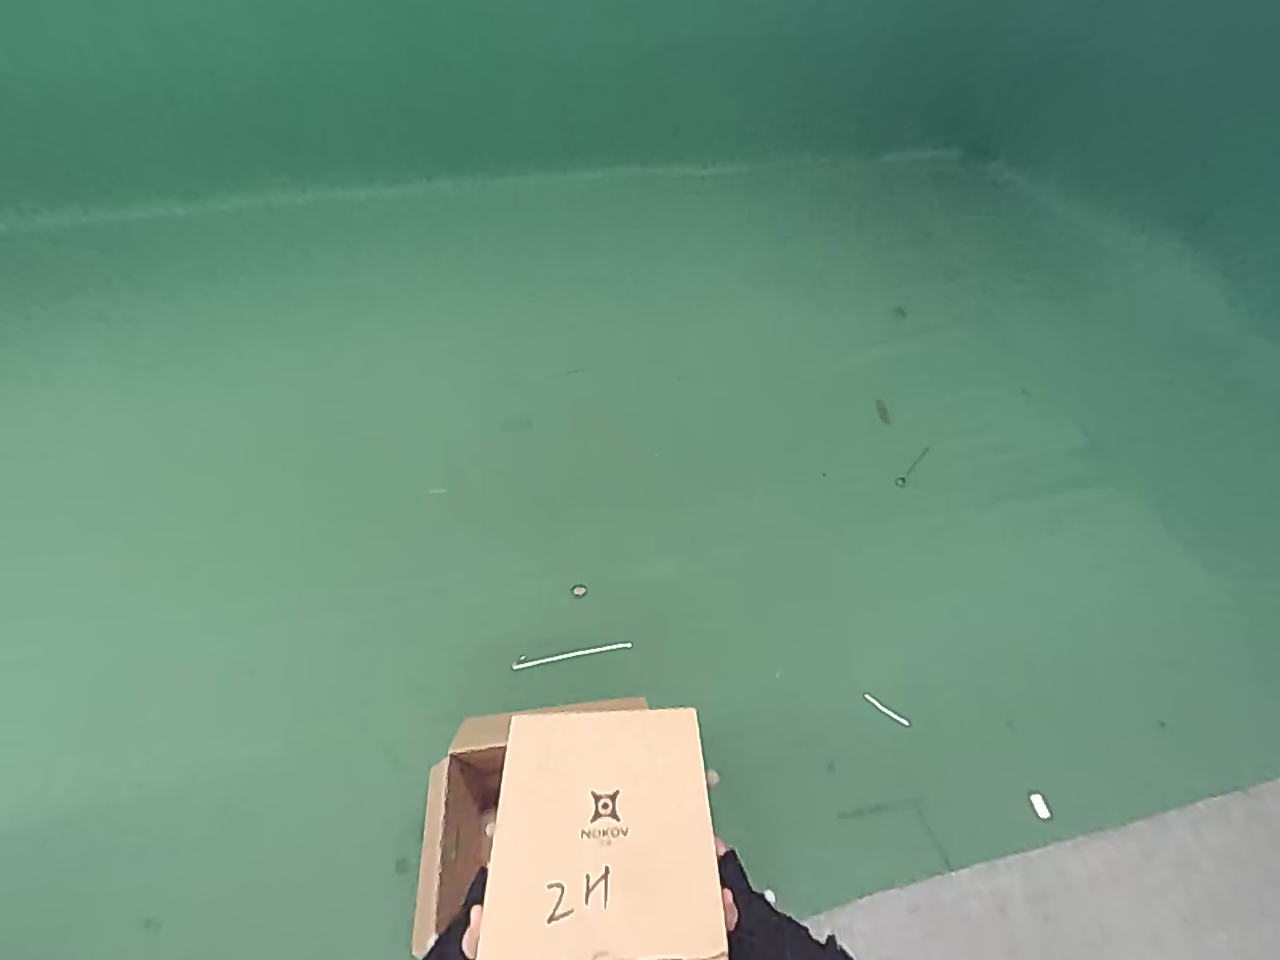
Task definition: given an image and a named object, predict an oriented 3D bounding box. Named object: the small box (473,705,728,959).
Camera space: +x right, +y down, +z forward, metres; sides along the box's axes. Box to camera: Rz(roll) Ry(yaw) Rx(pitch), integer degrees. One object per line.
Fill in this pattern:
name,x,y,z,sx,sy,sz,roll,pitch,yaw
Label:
small box,-0.028,0.316,0.455,0.168,0.176,0.179,-2,39,-1
